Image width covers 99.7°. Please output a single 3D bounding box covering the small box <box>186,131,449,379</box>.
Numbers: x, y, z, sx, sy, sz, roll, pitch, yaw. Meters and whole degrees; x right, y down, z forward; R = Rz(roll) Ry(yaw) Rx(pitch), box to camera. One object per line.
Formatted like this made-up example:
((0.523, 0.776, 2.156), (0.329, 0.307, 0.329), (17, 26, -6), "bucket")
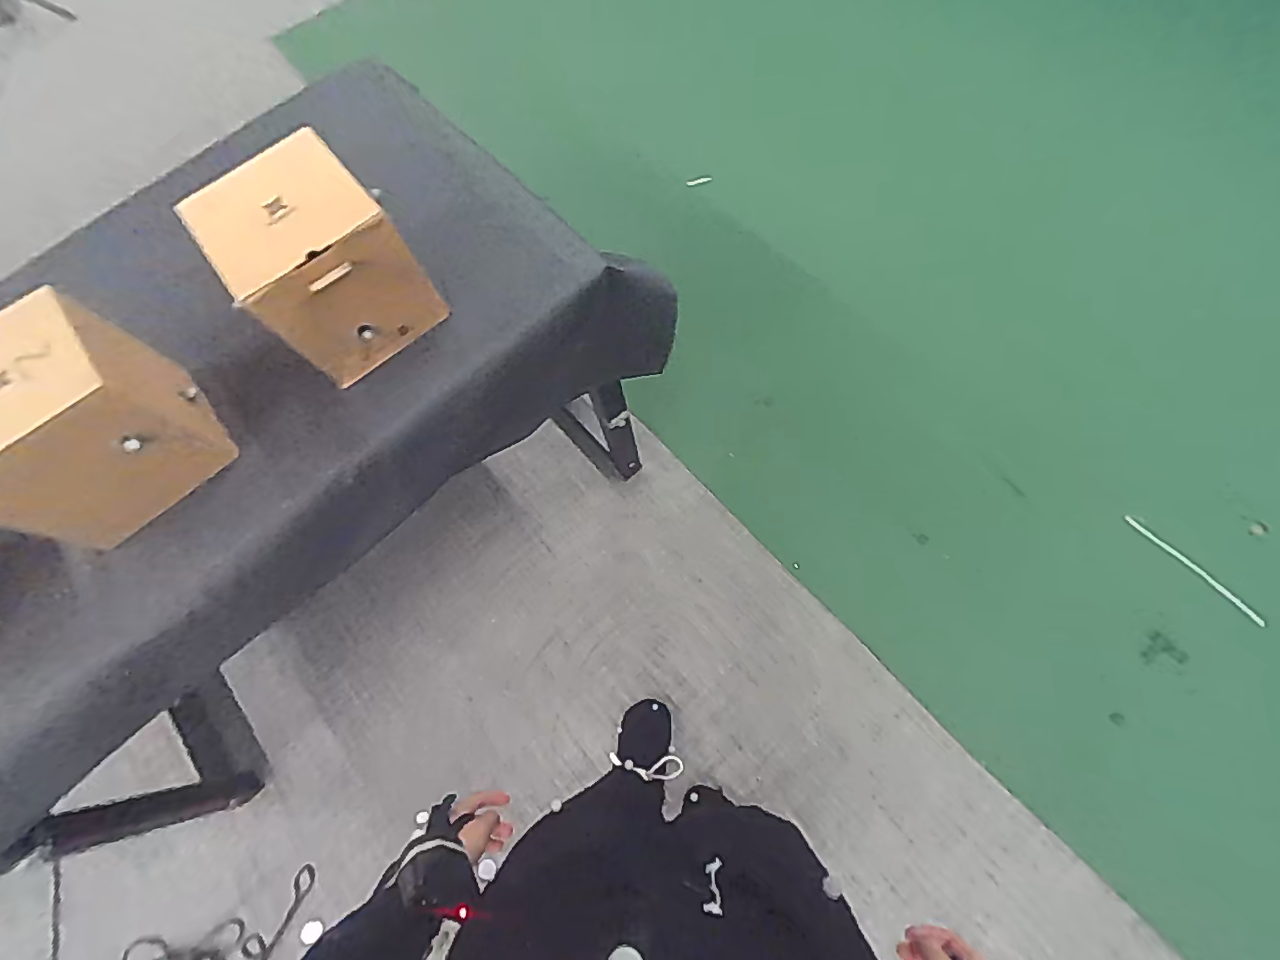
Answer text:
((-0.362, -0.254, 0.637), (0.168, 0.176, 0.179), (-39, 72, -9), "small box")
